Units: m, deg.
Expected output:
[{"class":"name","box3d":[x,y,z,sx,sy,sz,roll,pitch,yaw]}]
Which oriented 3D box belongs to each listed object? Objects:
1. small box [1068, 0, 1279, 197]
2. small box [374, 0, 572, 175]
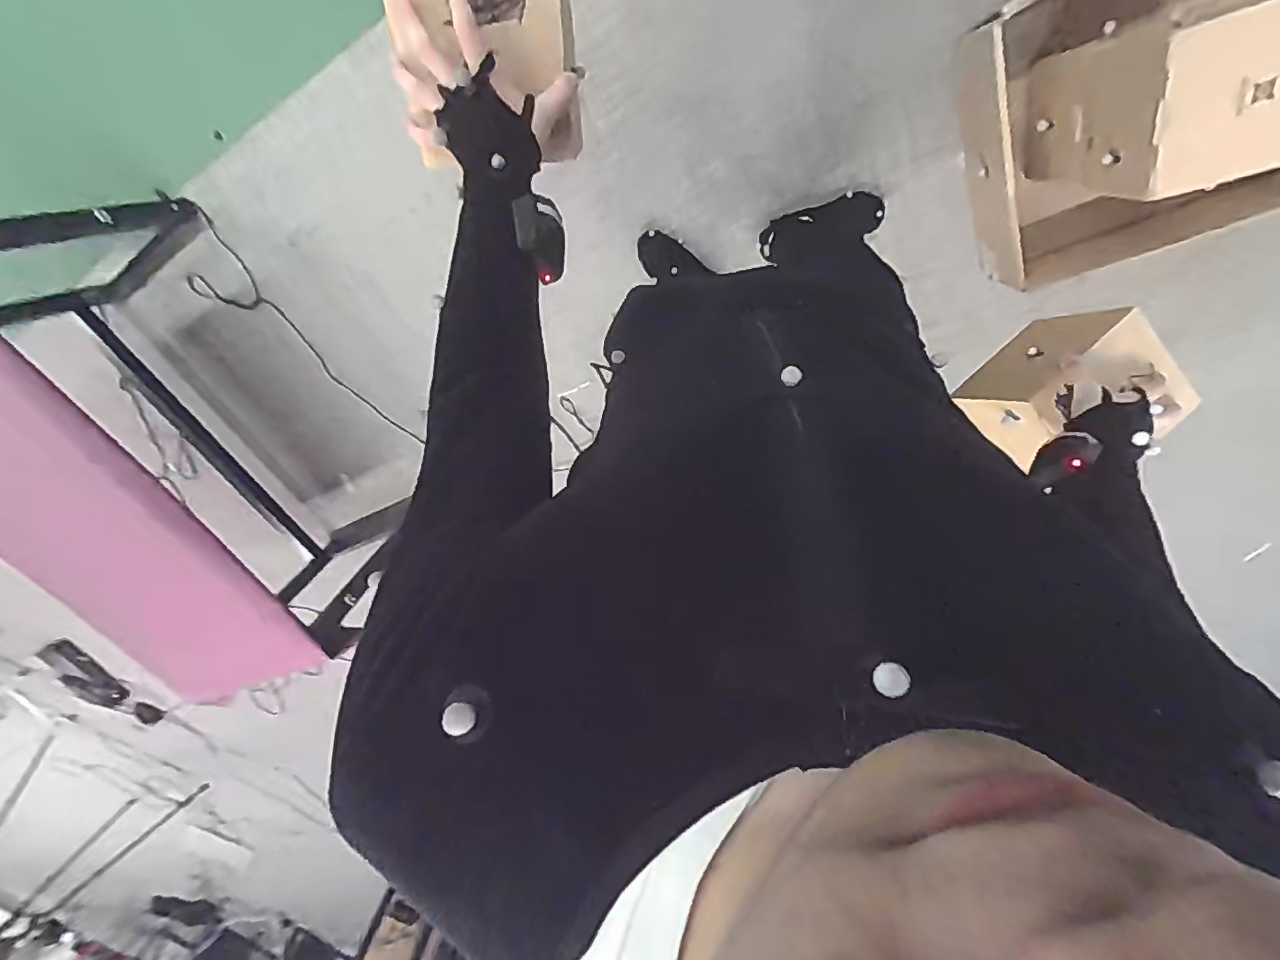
[{"class":"small box","box3d":[0.659,-0.460,0.651,0.179,0.176,0.168,-11,120,15]},{"class":"small box","box3d":[-0.171,-0.456,0.609,0.168,0.176,0.179,-4,126,0]}]
